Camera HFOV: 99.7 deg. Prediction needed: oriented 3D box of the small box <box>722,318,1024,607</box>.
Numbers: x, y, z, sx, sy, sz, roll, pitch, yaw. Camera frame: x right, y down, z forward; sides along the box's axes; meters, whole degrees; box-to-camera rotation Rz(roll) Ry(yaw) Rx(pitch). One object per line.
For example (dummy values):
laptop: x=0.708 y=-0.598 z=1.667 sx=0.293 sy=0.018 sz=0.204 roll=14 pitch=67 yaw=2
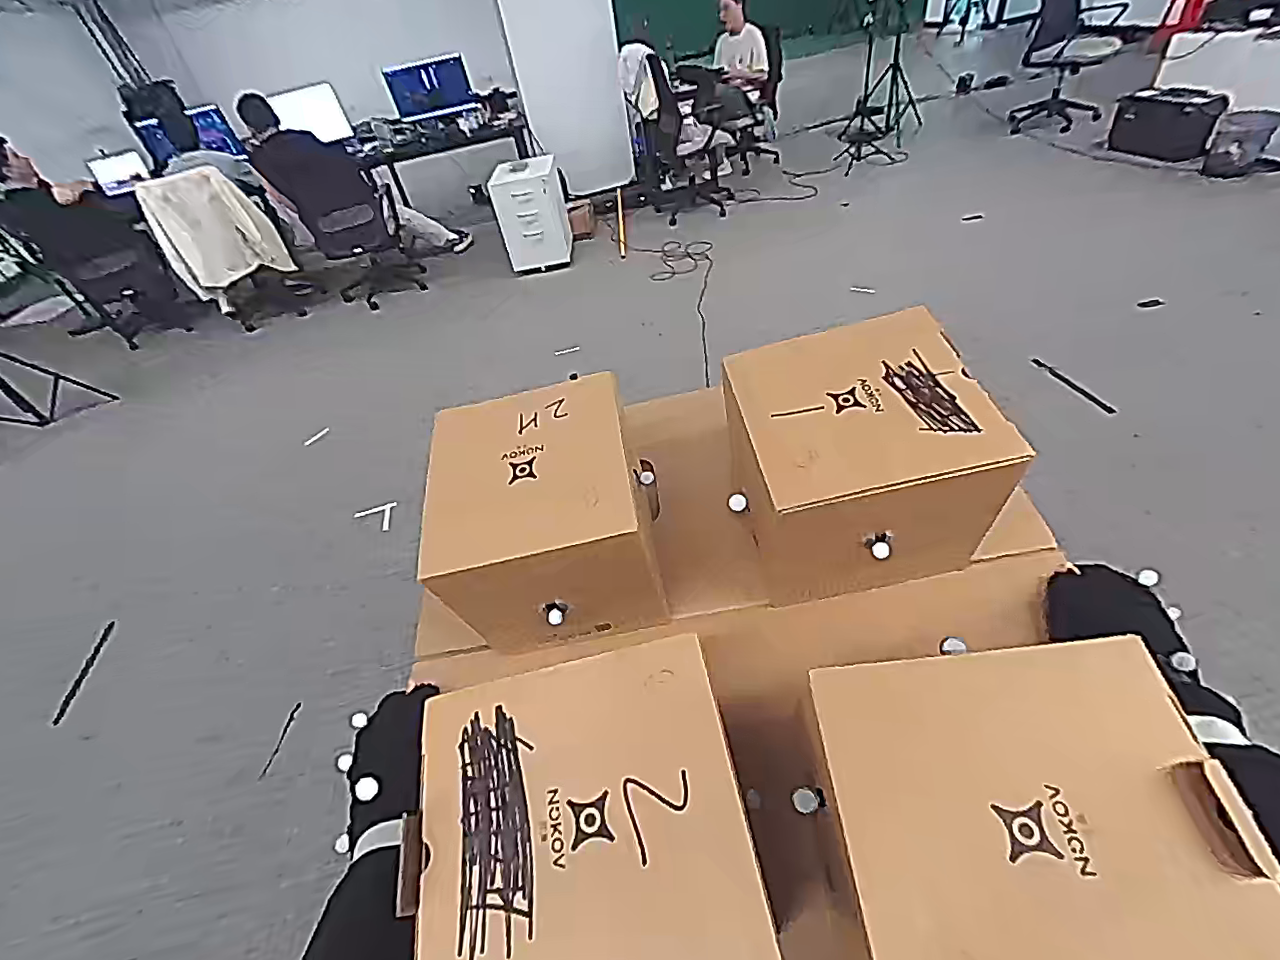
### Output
small box: x=0.178 y=-0.007 z=0.475 sx=0.179 sy=0.176 sz=0.168 roll=-13 pitch=52 yaw=5

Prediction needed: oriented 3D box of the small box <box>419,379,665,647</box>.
small box: x=-0.078 y=0.040 z=0.501 sx=0.168 sy=0.176 sz=0.179 roll=-12 pitch=52 yaw=4
